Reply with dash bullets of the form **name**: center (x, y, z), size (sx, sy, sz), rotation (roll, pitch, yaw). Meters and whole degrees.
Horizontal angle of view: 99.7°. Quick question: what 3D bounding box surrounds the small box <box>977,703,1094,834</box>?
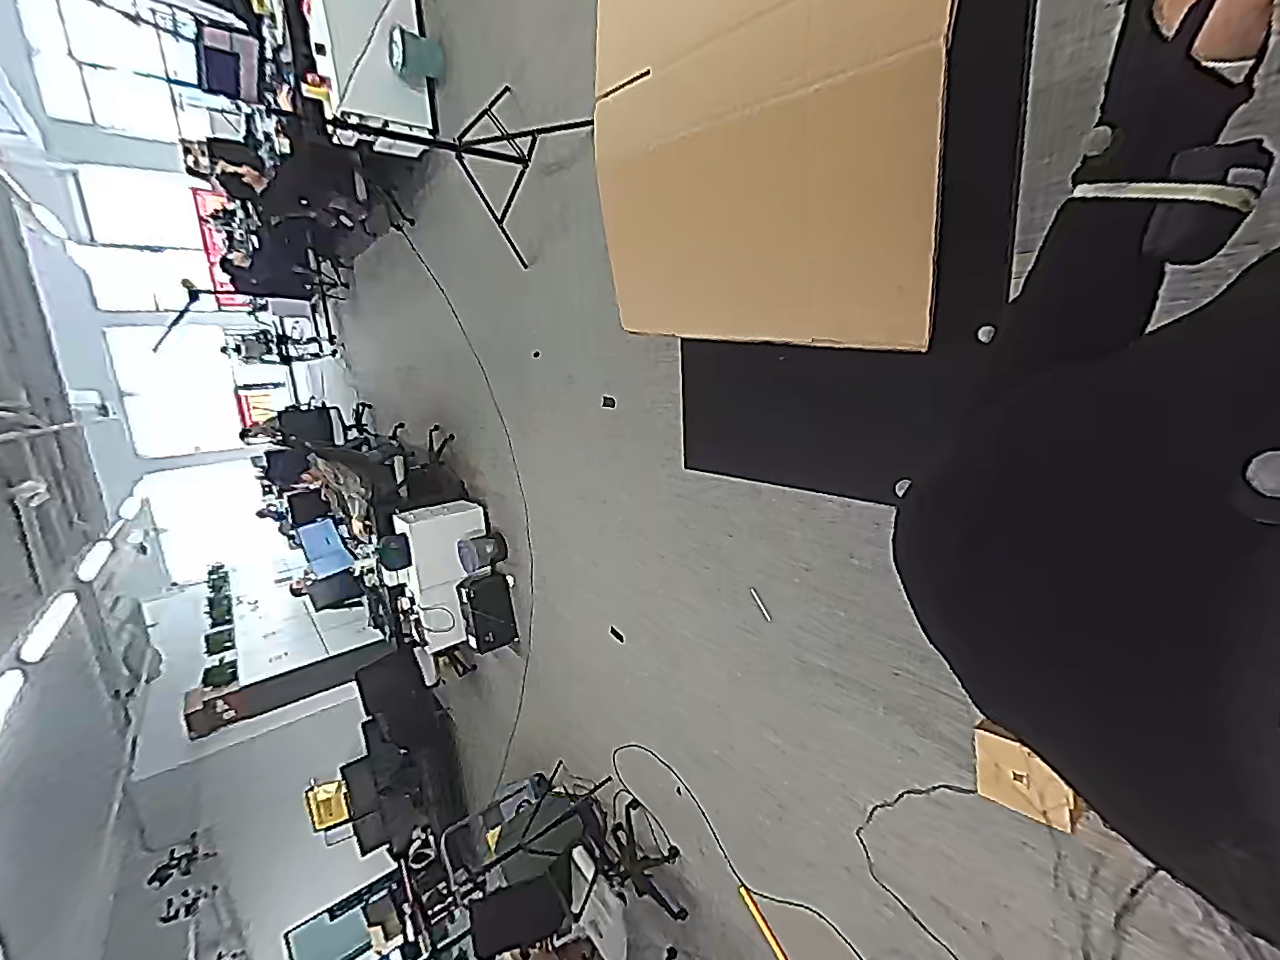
- **small box**: center (0.880, 0.623, 1.198), size (0.179, 0.176, 0.168), rotation (2, 101, 54)
